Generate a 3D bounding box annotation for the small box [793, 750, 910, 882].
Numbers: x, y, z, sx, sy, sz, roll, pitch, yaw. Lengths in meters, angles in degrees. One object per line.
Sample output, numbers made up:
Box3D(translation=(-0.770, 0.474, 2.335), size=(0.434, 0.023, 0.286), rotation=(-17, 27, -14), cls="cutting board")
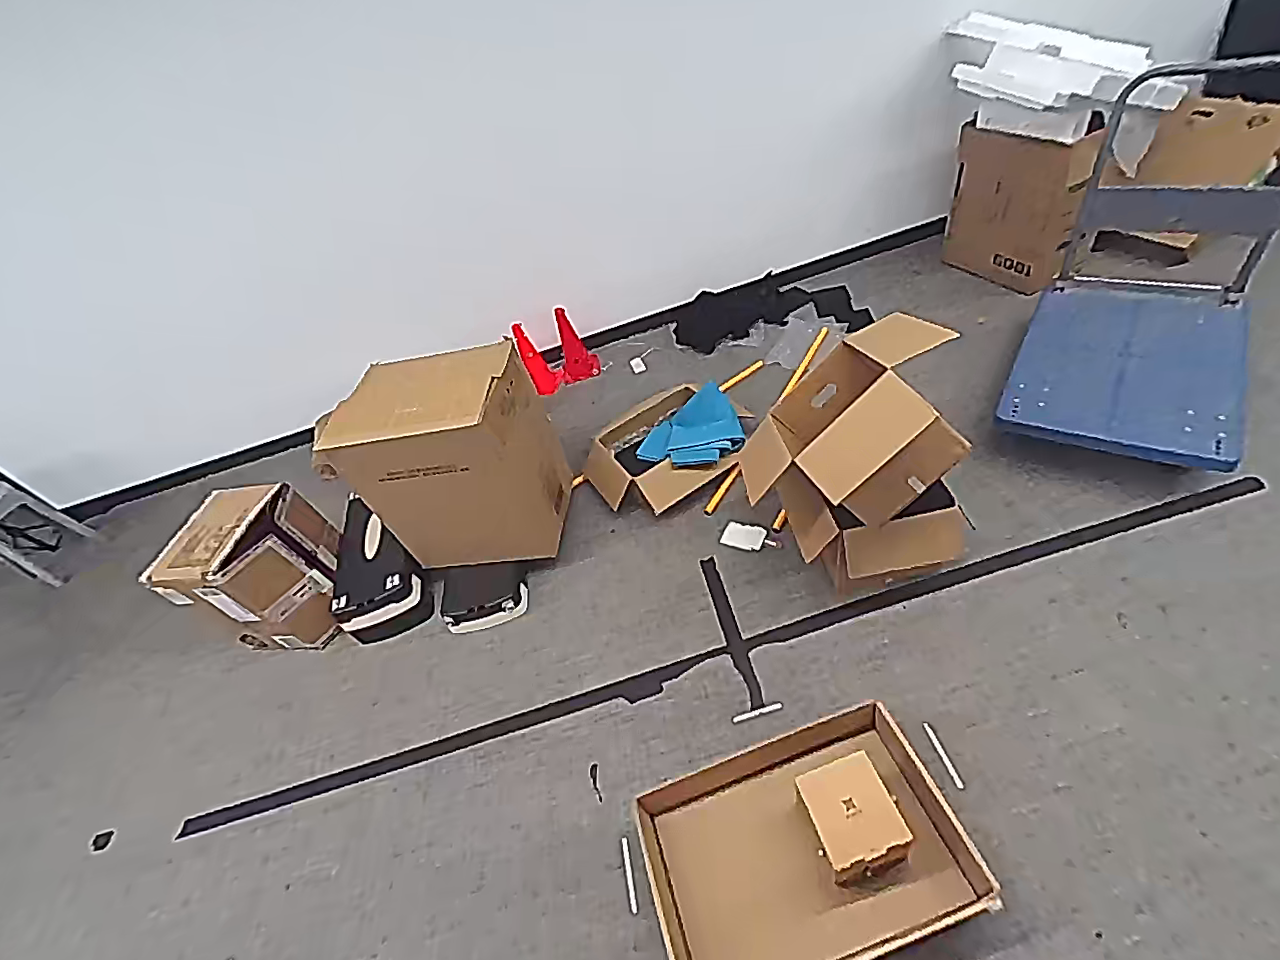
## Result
Box3D(translation=(0.440, 0.716, 1.150), size=(0.168, 0.176, 0.179), rotation=(-21, 44, -2), cls="small box")
